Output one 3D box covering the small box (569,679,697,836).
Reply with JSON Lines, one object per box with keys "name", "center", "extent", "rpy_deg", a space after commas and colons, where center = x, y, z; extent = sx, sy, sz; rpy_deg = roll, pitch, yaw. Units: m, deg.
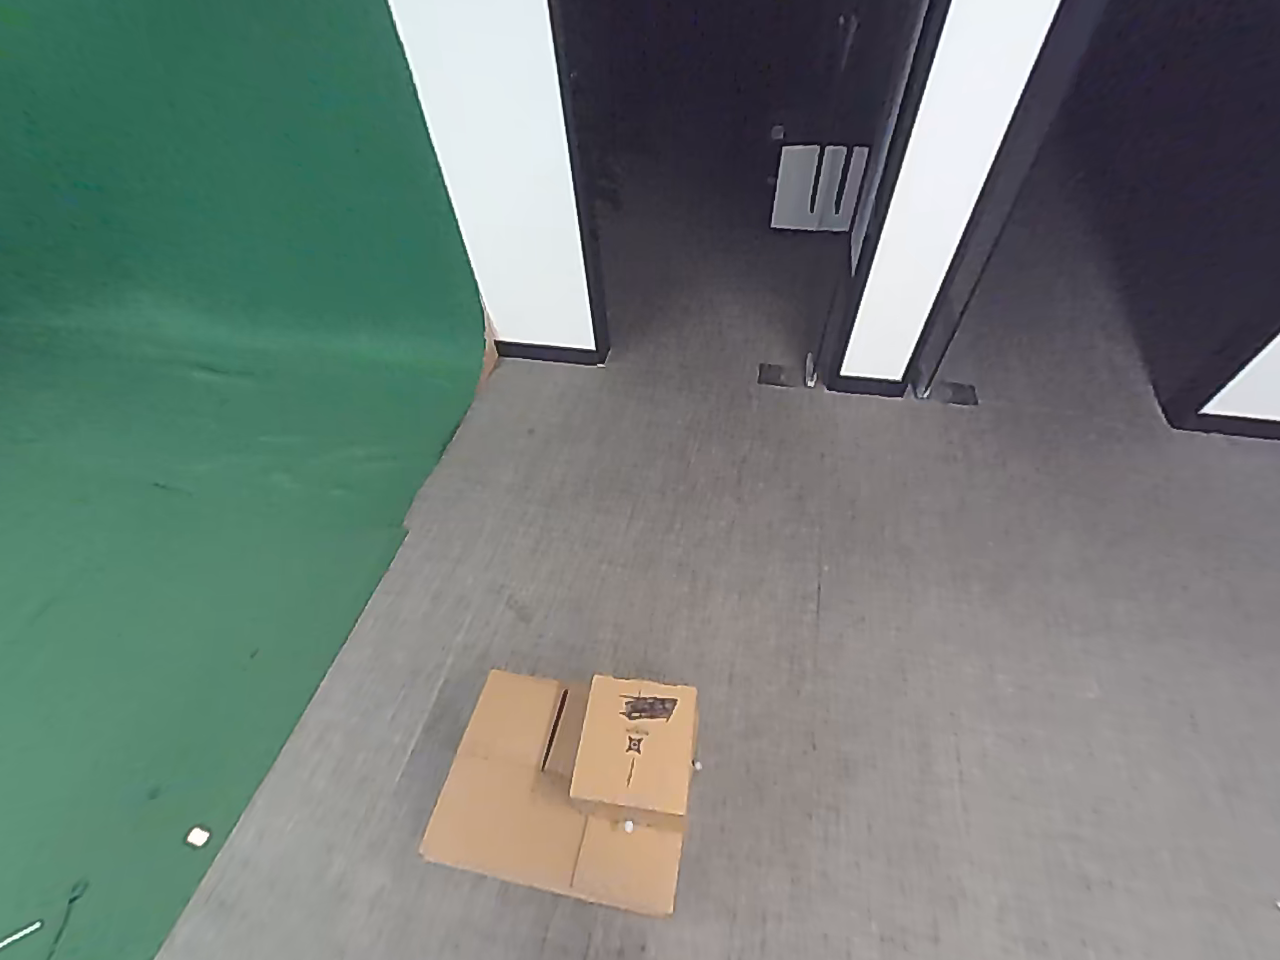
{"name": "small box", "center": [-0.001, 0.441, 0.859], "extent": [0.168, 0.176, 0.179], "rpy_deg": [4, 52, 10]}
